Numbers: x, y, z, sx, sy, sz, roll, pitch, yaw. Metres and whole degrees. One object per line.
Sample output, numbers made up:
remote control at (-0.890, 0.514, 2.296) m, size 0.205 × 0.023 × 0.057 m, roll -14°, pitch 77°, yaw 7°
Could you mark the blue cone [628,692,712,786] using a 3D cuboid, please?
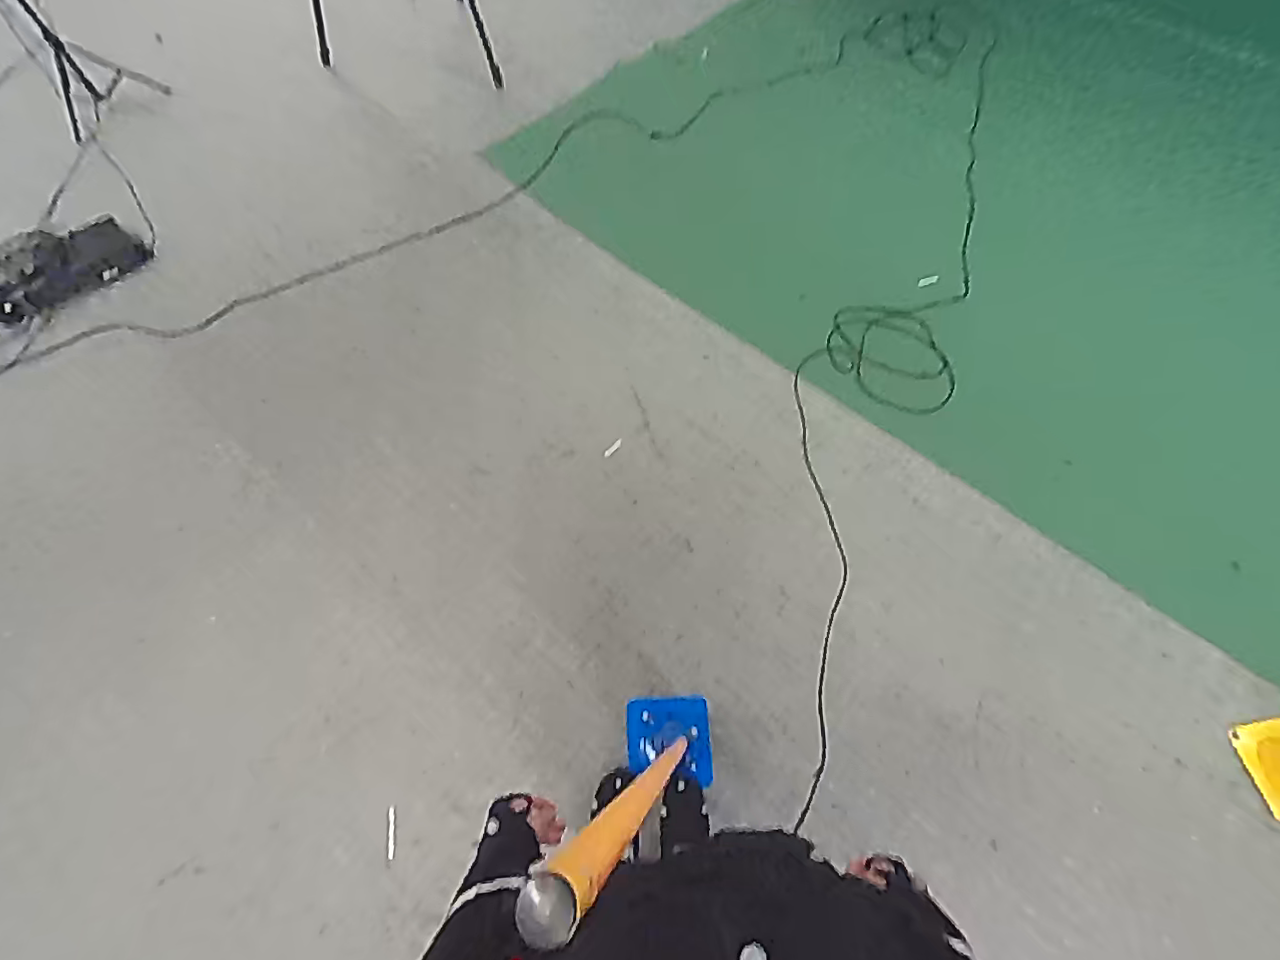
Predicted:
blue cone at (0.072, 0.539, 1.123) m, size 0.193 × 0.380 × 0.192 m, roll -3°, pitch 65°, yaw -2°
